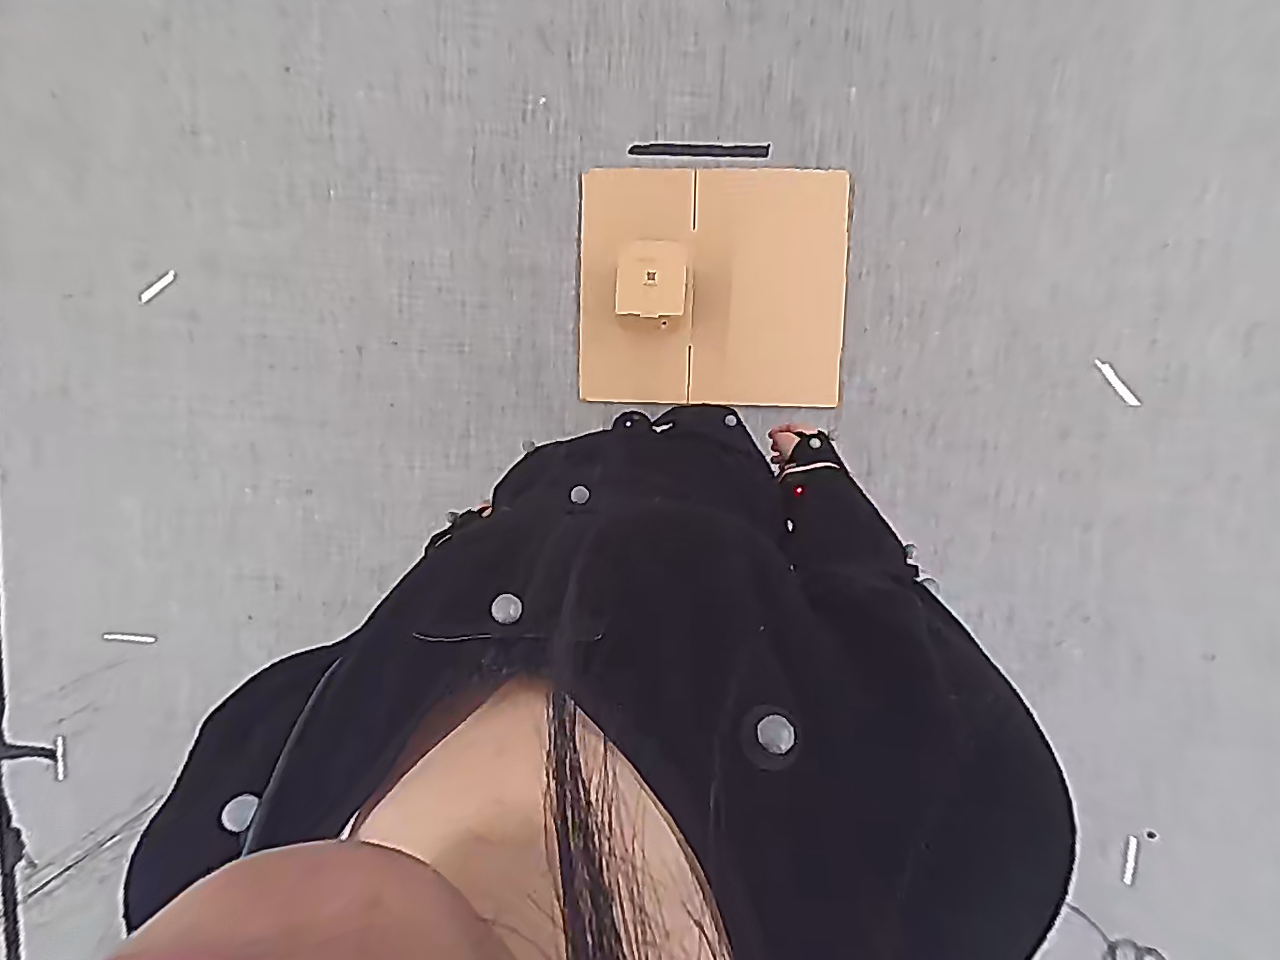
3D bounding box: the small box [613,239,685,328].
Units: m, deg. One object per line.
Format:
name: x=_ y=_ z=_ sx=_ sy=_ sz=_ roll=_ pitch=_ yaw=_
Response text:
small box: x=0.023 y=-0.484 z=1.354 sx=0.168 sy=0.176 sz=0.179 roll=2 pitch=94 yaw=0
